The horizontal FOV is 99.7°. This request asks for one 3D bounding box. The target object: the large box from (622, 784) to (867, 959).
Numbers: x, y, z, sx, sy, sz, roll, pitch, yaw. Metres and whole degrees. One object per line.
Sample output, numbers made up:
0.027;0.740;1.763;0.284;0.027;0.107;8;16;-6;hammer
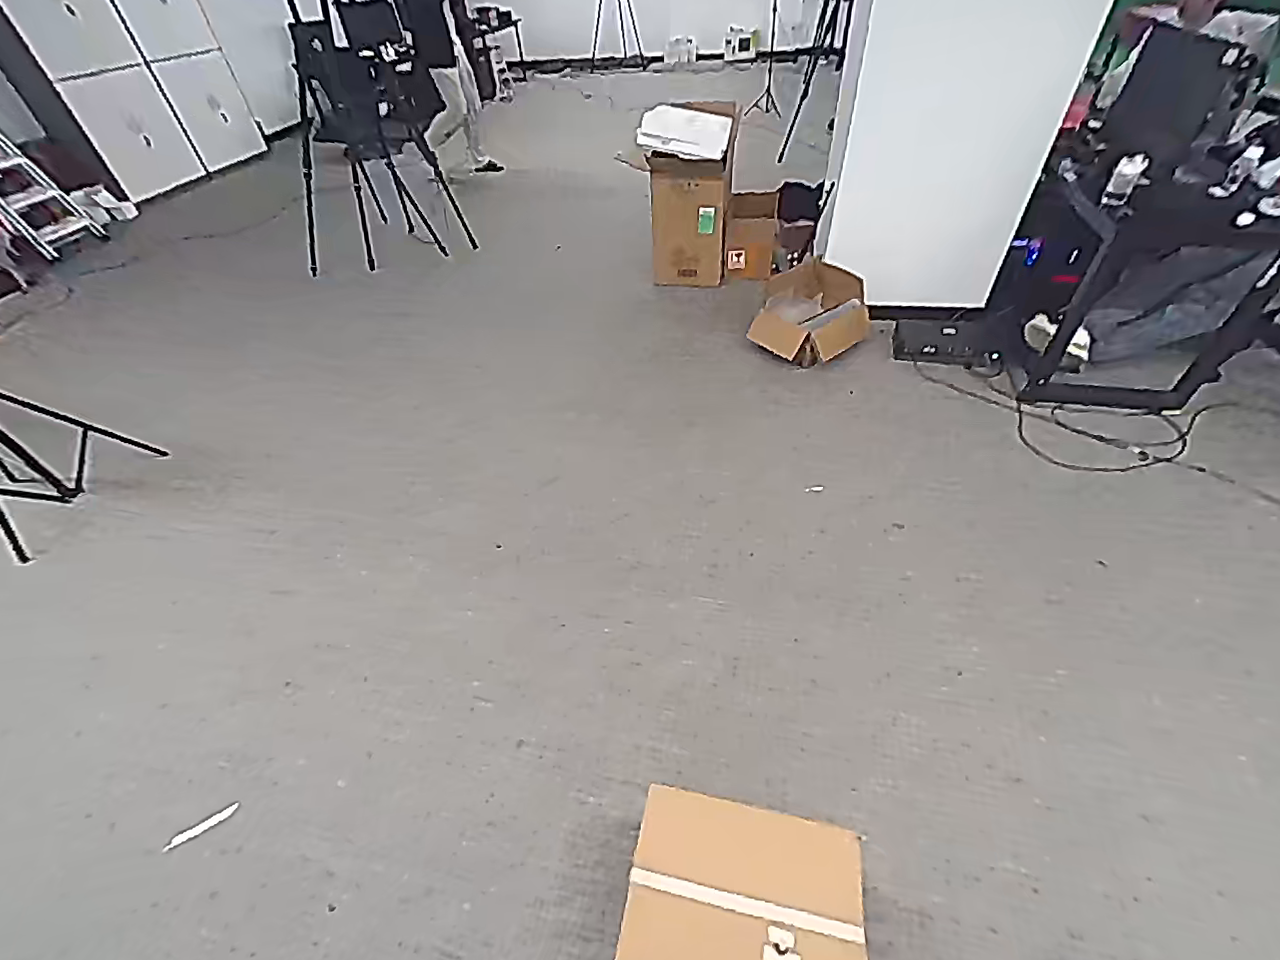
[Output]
0.194;0.844;1.055;0.408;0.320;0.320;7;46;11;large box
